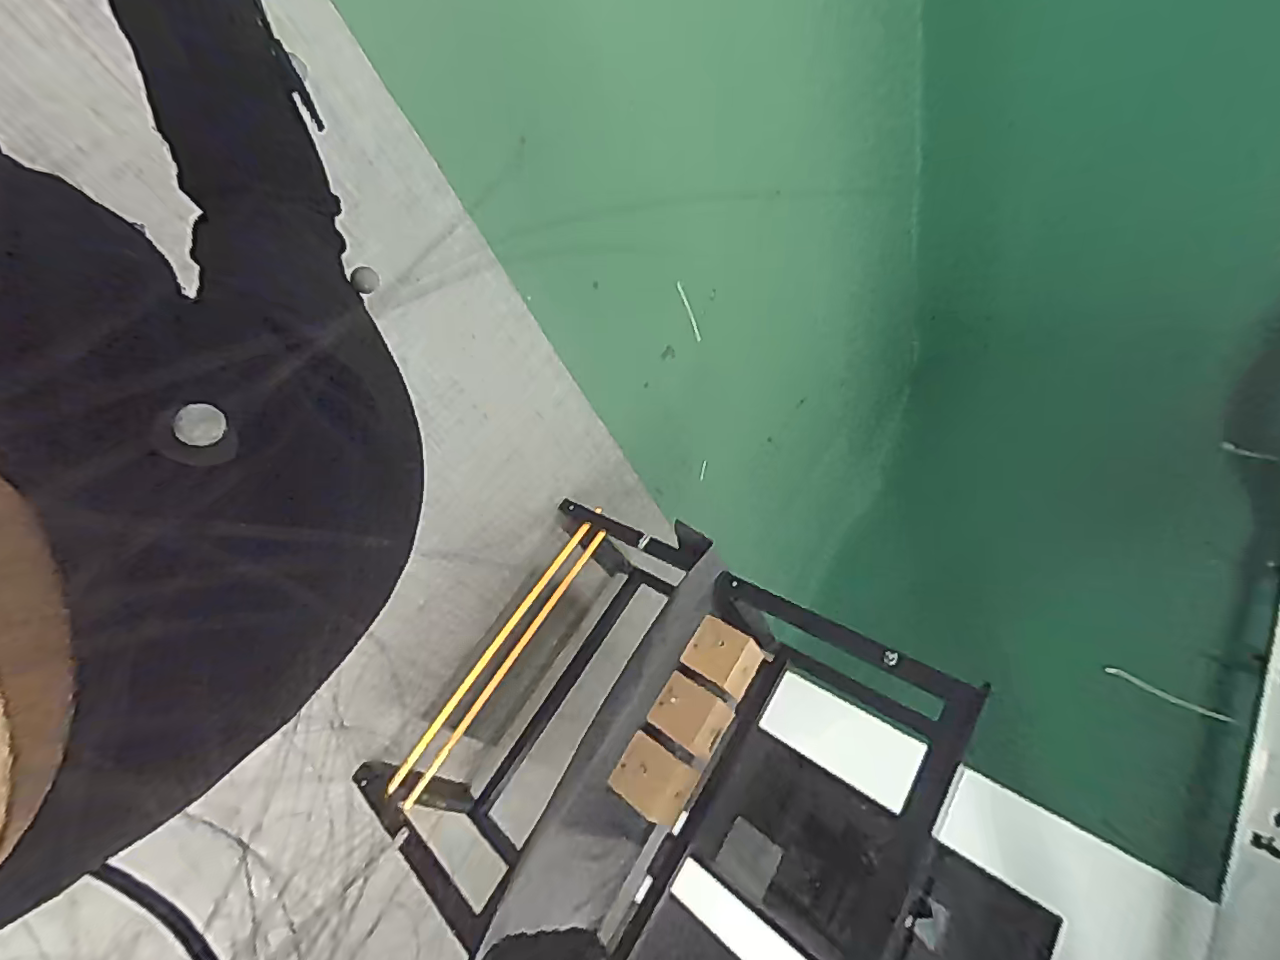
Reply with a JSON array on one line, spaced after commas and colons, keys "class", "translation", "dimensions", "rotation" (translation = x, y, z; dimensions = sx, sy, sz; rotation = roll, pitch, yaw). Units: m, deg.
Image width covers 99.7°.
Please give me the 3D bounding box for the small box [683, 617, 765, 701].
[{"class": "small box", "translation": [0.258, 0.547, 1.671], "dimensions": [0.168, 0.176, 0.179], "rotation": [-55, 140, -17]}]
